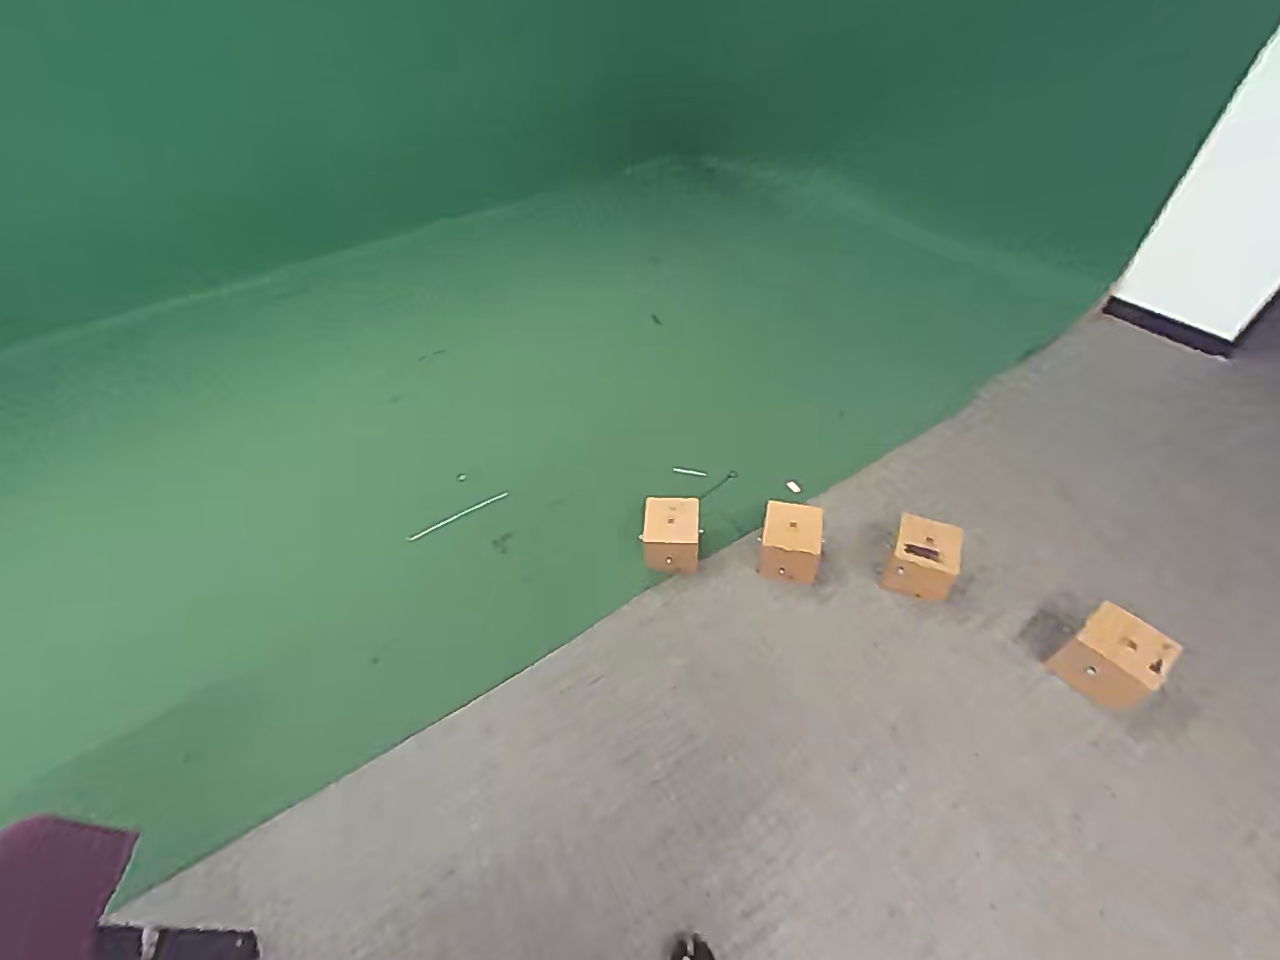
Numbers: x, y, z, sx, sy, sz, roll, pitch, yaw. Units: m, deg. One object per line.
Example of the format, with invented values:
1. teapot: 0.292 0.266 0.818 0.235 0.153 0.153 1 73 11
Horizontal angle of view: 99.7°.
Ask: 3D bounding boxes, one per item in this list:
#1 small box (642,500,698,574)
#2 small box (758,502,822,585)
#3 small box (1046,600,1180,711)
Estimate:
1. small box: 0.101 0.182 1.719 0.168 0.176 0.179 1 48 6
2. small box: 0.461 0.196 1.675 0.168 0.176 0.179 8 50 13
3. small box: 1.186 0.448 1.373 0.168 0.176 0.179 -33 53 -22
